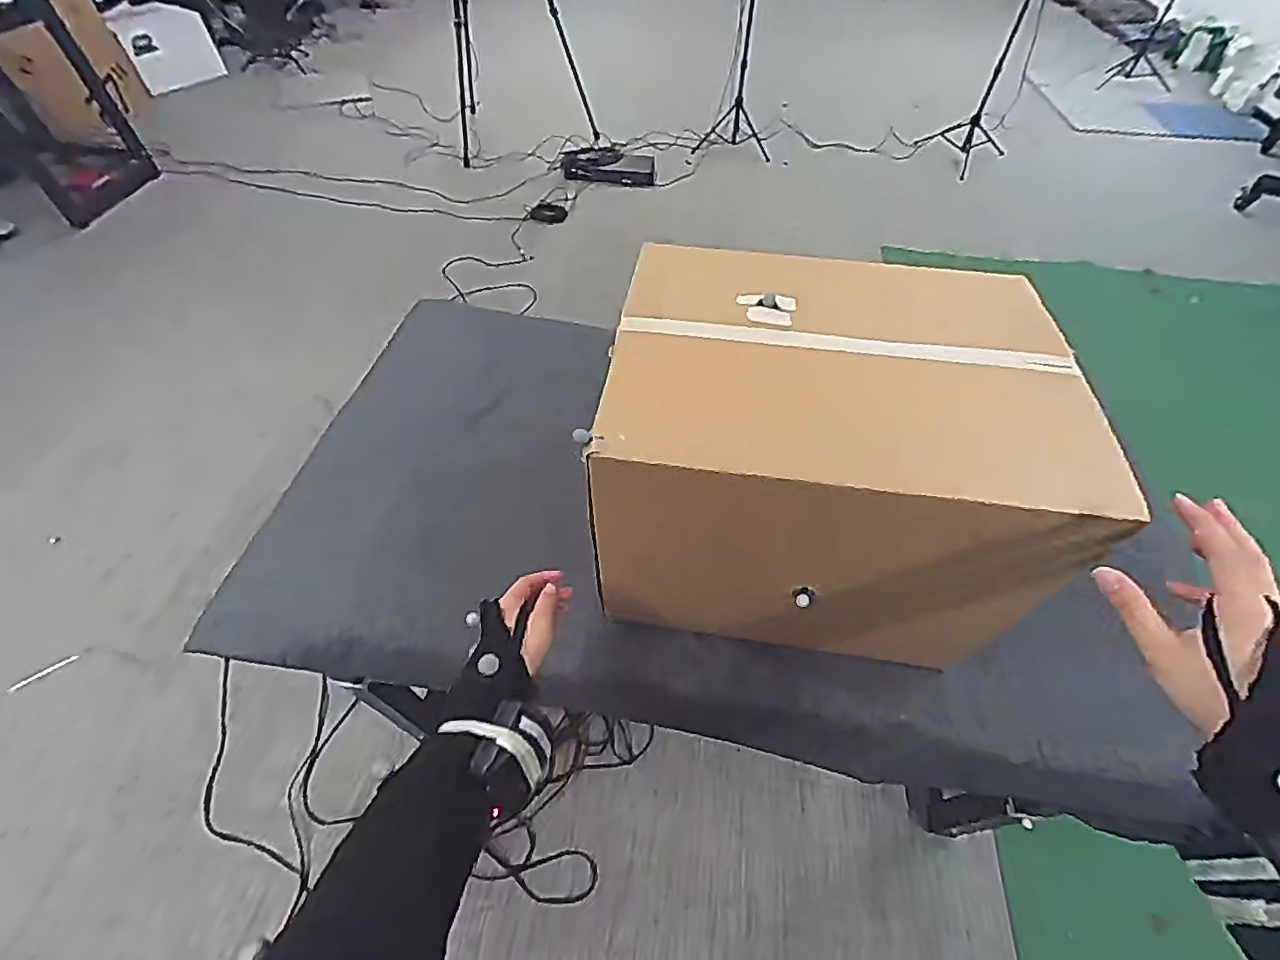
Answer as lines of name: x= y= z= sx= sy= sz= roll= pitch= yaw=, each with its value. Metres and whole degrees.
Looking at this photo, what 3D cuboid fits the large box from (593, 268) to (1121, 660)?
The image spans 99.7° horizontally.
large box: x=0.181 y=-0.012 z=0.619 sx=0.408 sy=0.320 sz=0.320 roll=6 pitch=52 yaw=6
